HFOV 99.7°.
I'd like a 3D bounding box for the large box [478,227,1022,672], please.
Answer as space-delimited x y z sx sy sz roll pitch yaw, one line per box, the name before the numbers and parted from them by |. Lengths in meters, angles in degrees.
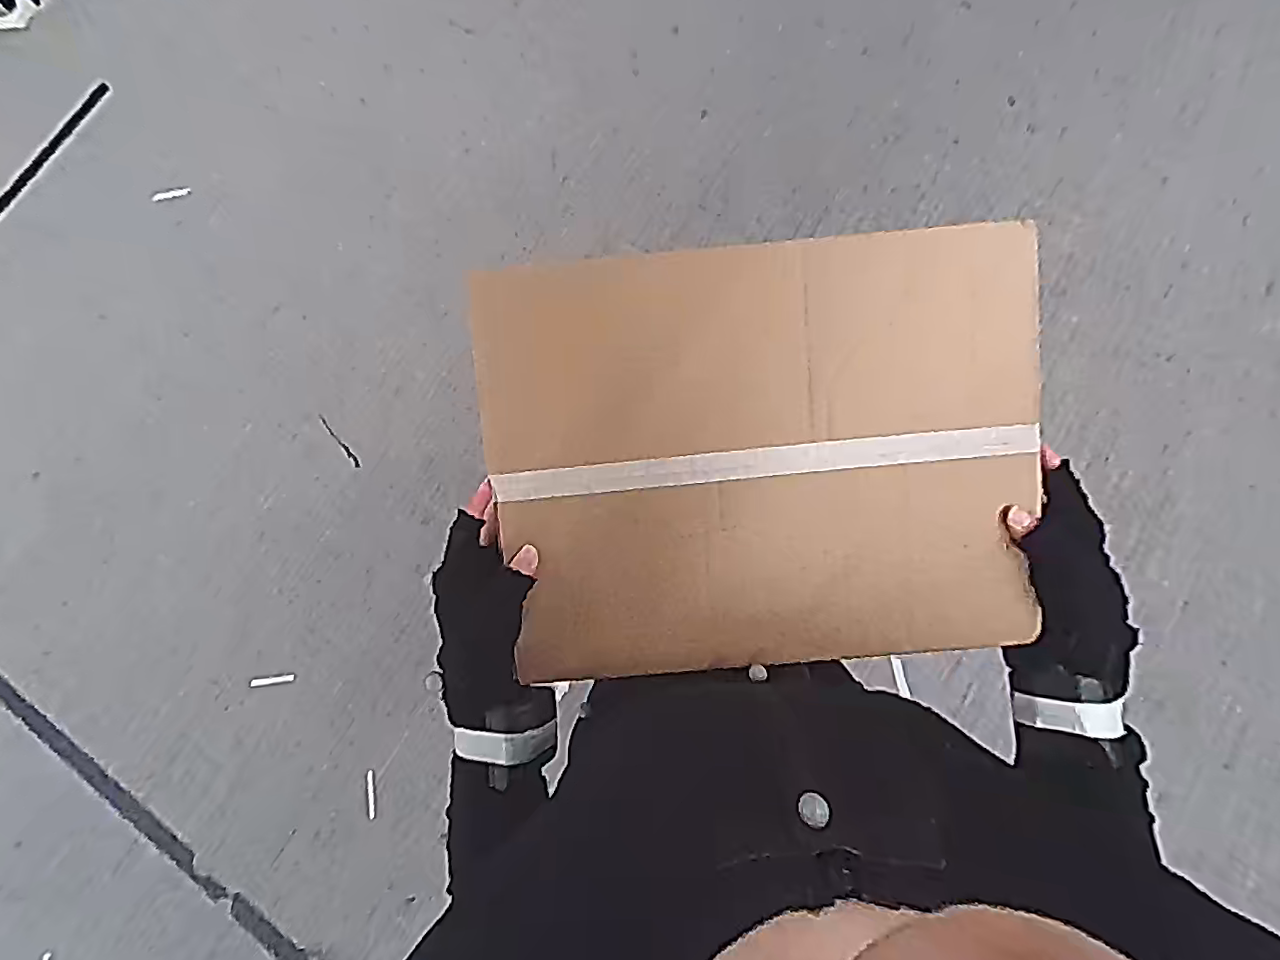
large box | 0.089 -0.031 0.560 0.408 0.320 0.320 -5 97 1
